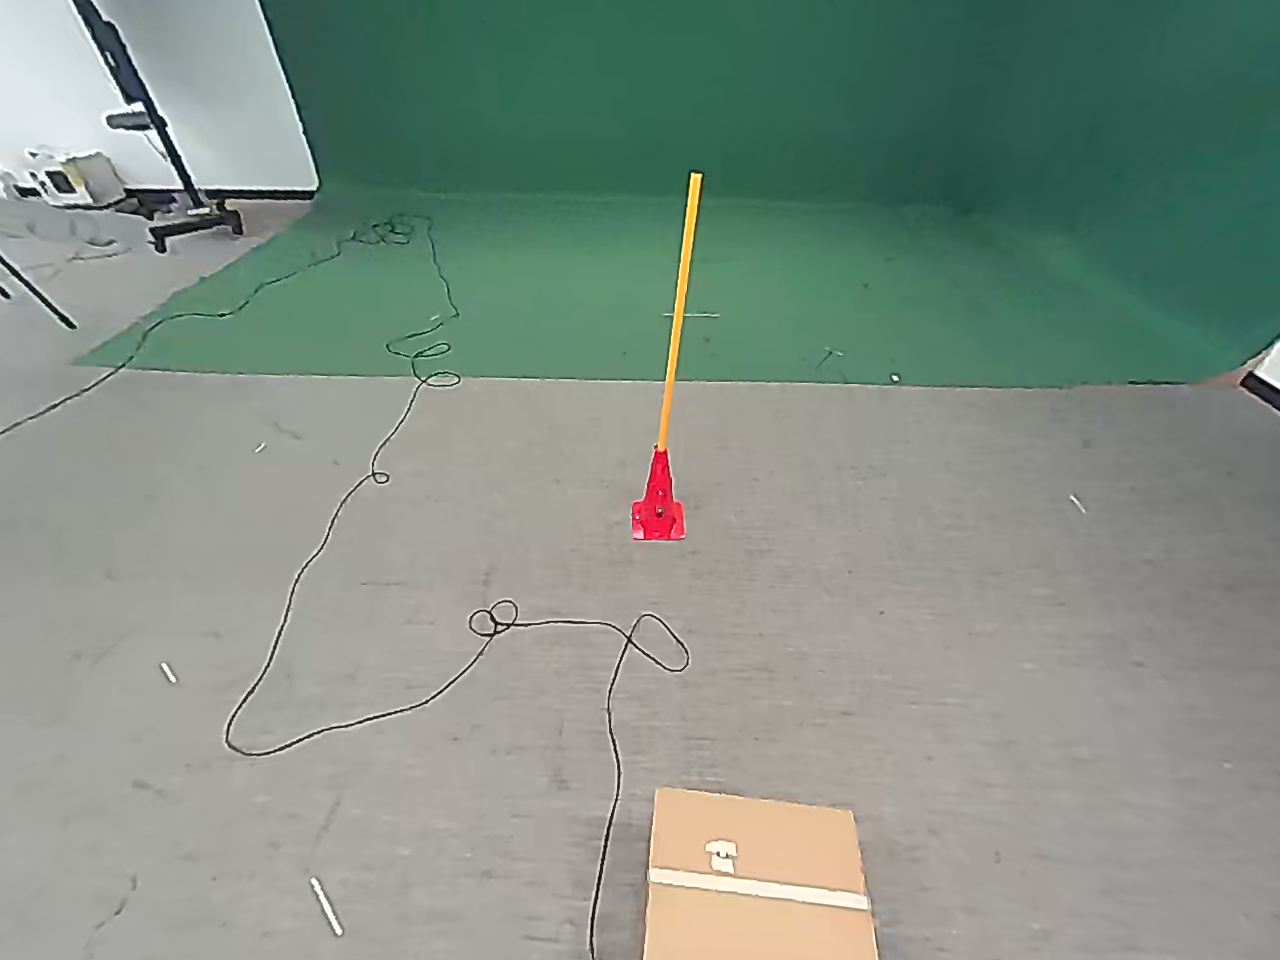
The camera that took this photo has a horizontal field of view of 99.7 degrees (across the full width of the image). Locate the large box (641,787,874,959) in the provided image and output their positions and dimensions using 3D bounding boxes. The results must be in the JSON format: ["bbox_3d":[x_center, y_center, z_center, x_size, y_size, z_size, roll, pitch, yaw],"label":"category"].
[{"bbox_3d":[0.215,0.865,1.104,0.408,0.320,0.320,4,42,5],"label":"large box"}]
